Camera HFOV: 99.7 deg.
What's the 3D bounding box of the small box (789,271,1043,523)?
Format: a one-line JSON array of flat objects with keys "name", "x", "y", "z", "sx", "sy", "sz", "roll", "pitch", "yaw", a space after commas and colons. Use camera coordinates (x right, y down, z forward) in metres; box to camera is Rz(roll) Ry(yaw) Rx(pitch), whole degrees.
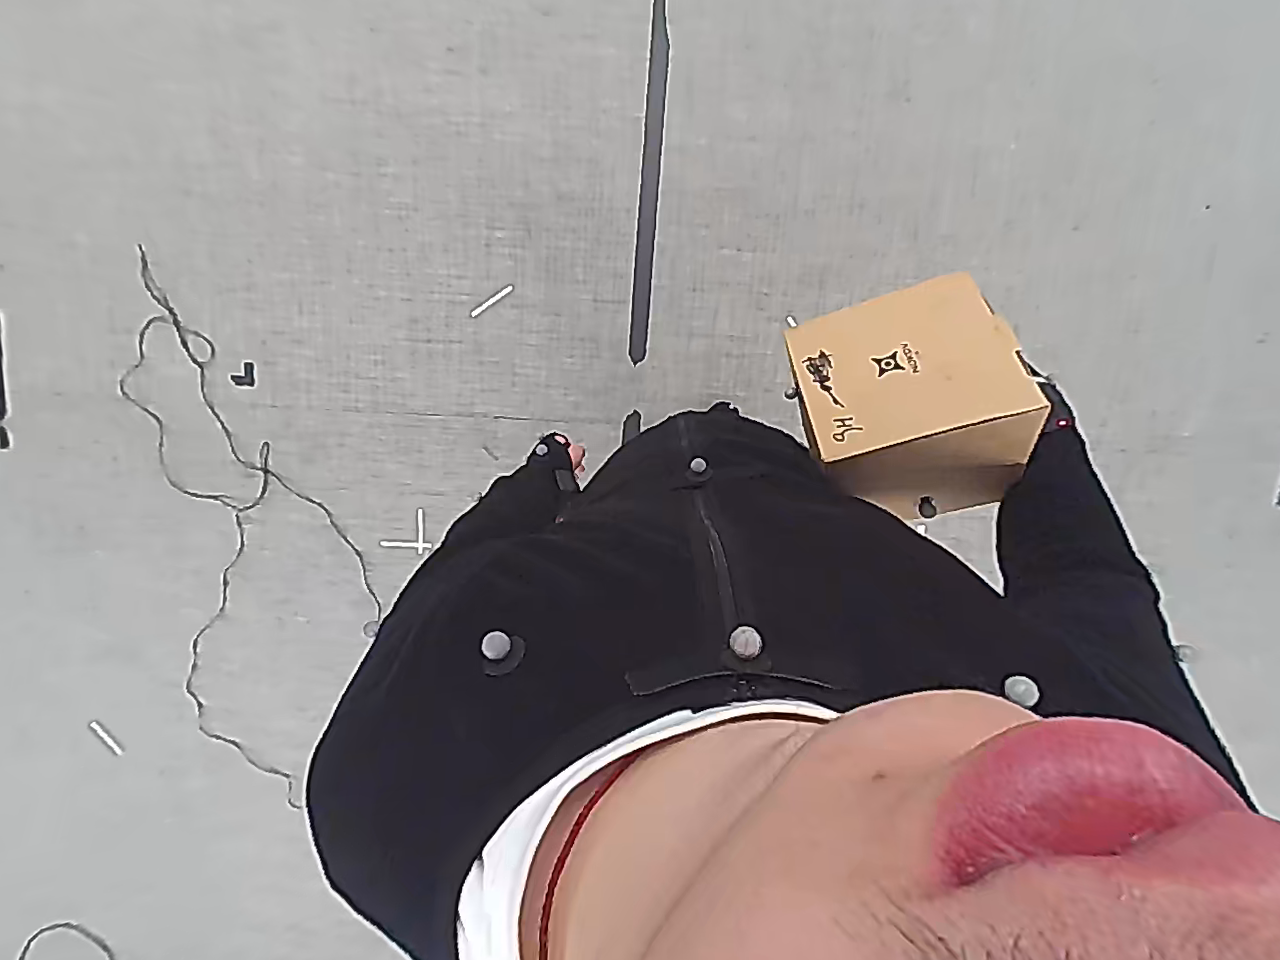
[{"name": "small box", "x": 0.268, "y": -0.075, "z": 0.563, "sx": 0.179, "sy": 0.176, "sz": 0.168, "roll": -15, "pitch": 57, "yaw": 16}]
